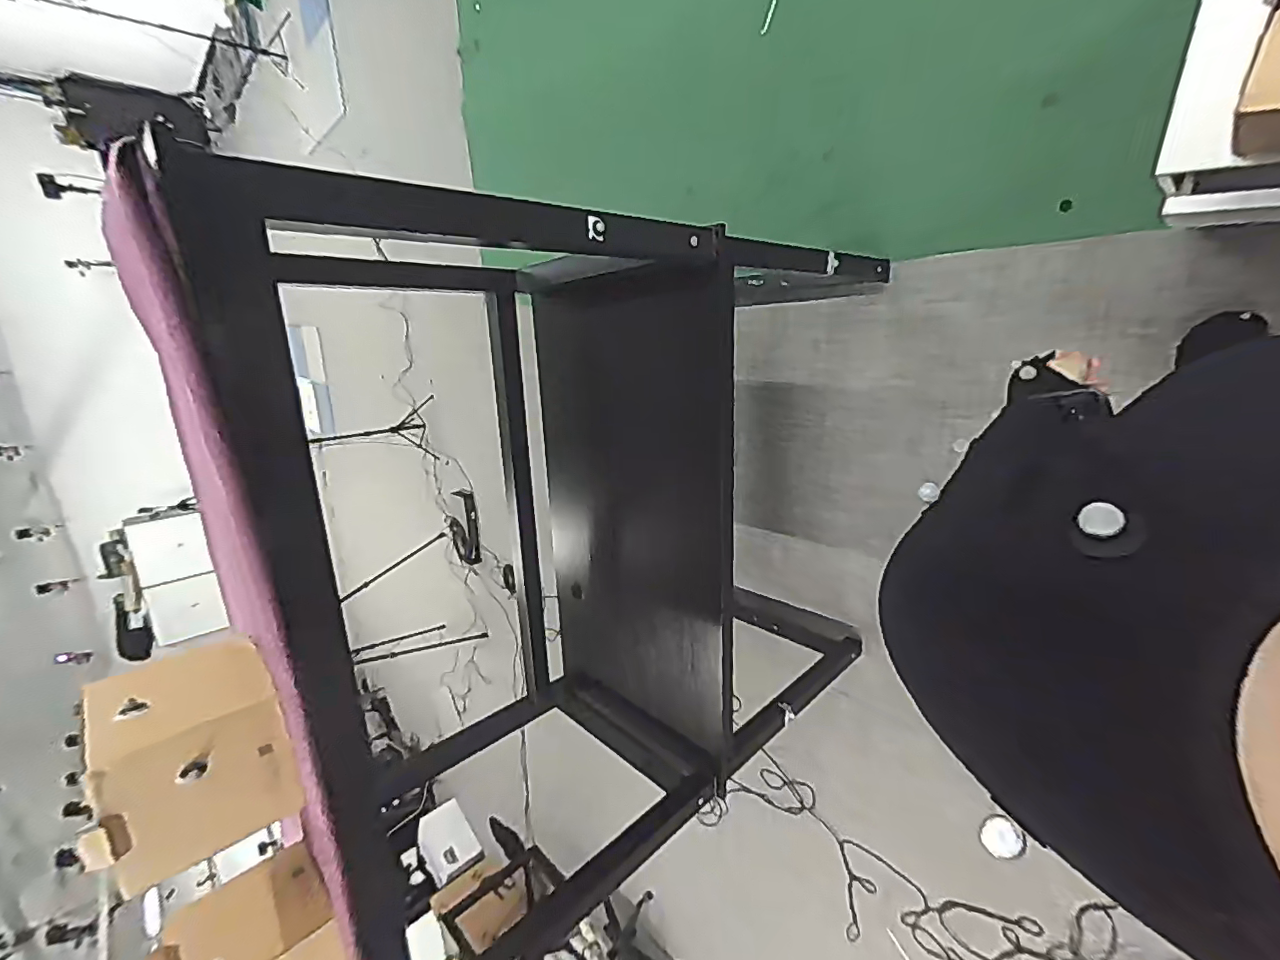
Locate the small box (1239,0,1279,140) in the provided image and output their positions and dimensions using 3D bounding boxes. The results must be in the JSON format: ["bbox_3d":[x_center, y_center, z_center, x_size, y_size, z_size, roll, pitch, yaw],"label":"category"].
[{"bbox_3d":[0.644,-0.398,0.442,0.179,0.176,0.168,21,116,41],"label":"small box"}]

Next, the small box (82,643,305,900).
[{"bbox_3d":[-0.516,0.320,0.639,0.179,0.176,0.168,17,113,45],"label":"small box"}]
